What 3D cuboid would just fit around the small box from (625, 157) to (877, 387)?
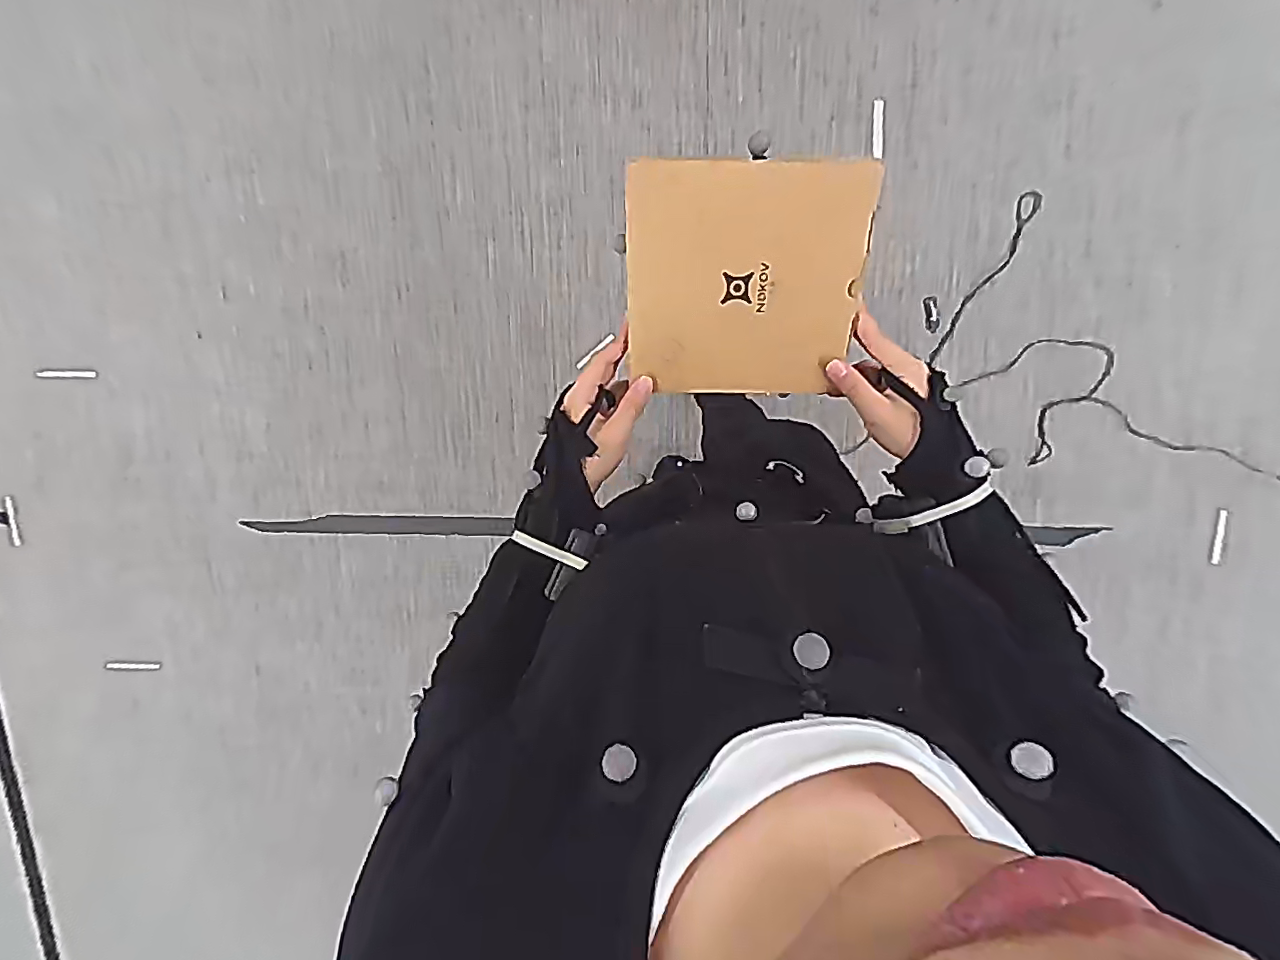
[{"bbox_3d":[0.079,-0.189,0.481,0.179,0.176,0.168,0,120,1],"label":"small box"}]
